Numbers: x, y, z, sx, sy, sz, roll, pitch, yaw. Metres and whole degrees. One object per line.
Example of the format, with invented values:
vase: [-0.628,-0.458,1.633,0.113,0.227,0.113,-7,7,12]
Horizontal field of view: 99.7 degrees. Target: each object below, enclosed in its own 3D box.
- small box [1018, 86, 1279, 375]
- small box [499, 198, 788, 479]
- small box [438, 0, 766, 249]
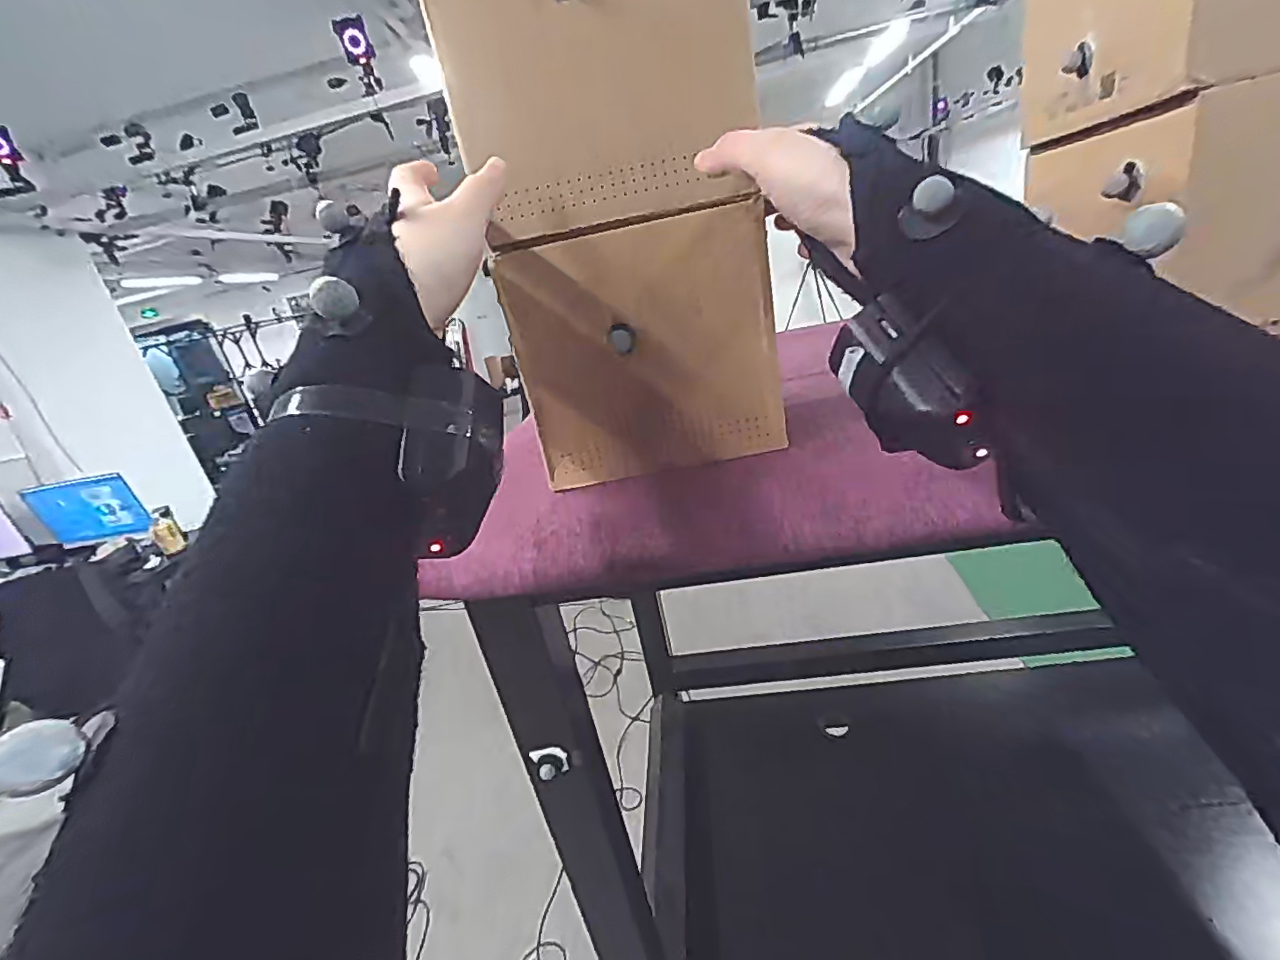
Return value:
small box: [0.417,-0.181,0.403,0.168,0.176,0.179,-8,21,8]
small box: [0.009,-0.111,0.440,0.179,0.176,0.168,-10,22,3]
small box: [-0.022,-0.261,0.379,0.179,0.176,0.168,-10,22,1]
